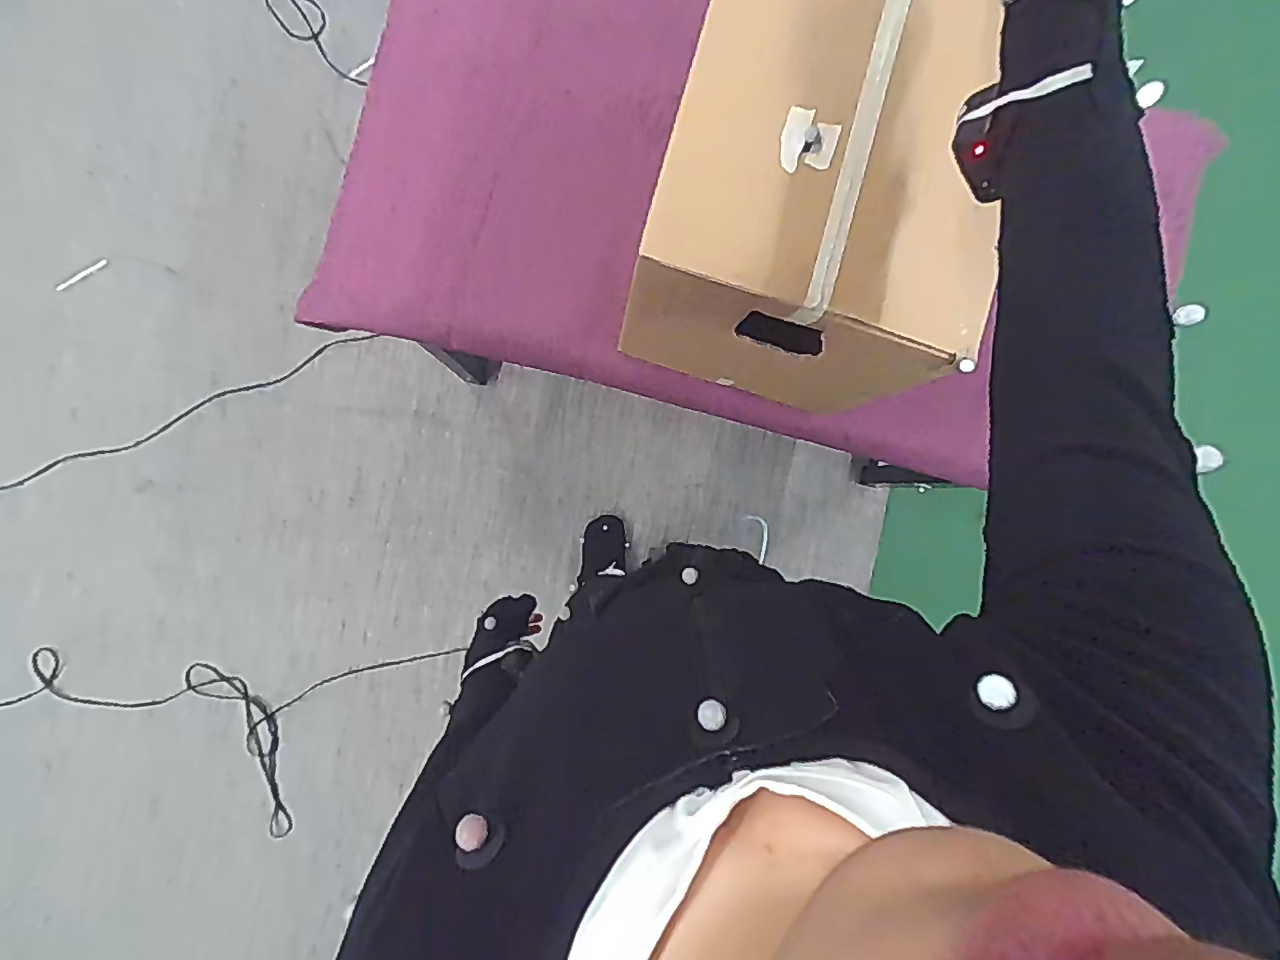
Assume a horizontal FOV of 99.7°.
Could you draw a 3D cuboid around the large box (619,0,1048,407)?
[{"bbox_3d":[0.181,-0.337,0.639,0.320,0.320,0.408,16,88,-5],"label":"large box"}]
